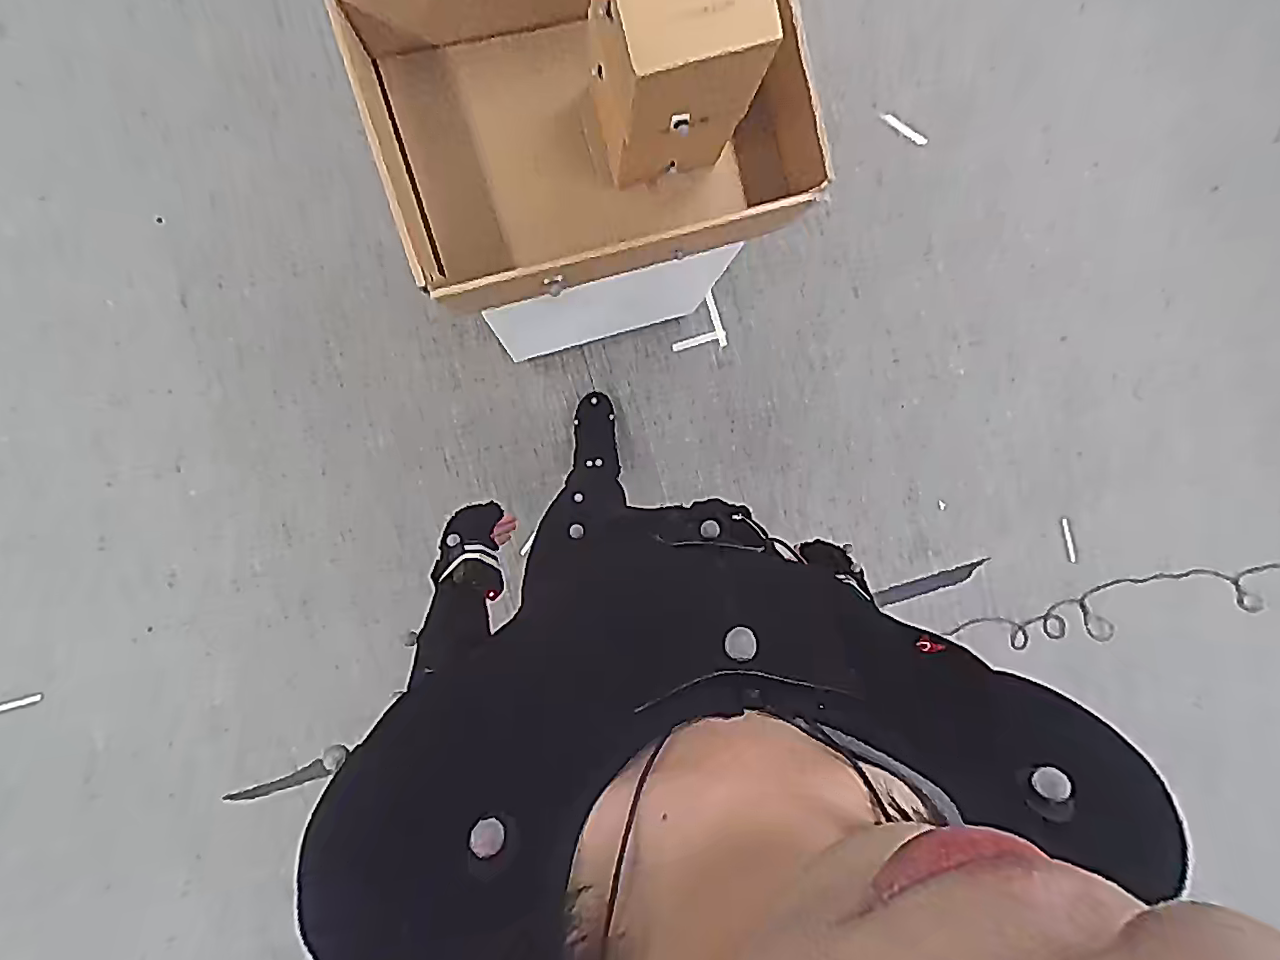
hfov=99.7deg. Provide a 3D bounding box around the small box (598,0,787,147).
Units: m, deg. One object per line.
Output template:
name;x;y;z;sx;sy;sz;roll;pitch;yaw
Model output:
small box;0.049;-0.537;0.636;0.168;0.176;0.179;-17;99;-1

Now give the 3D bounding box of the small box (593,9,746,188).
small box;0.034;-0.563;0.796;0.179;0.176;0.168;-16;98;-4
